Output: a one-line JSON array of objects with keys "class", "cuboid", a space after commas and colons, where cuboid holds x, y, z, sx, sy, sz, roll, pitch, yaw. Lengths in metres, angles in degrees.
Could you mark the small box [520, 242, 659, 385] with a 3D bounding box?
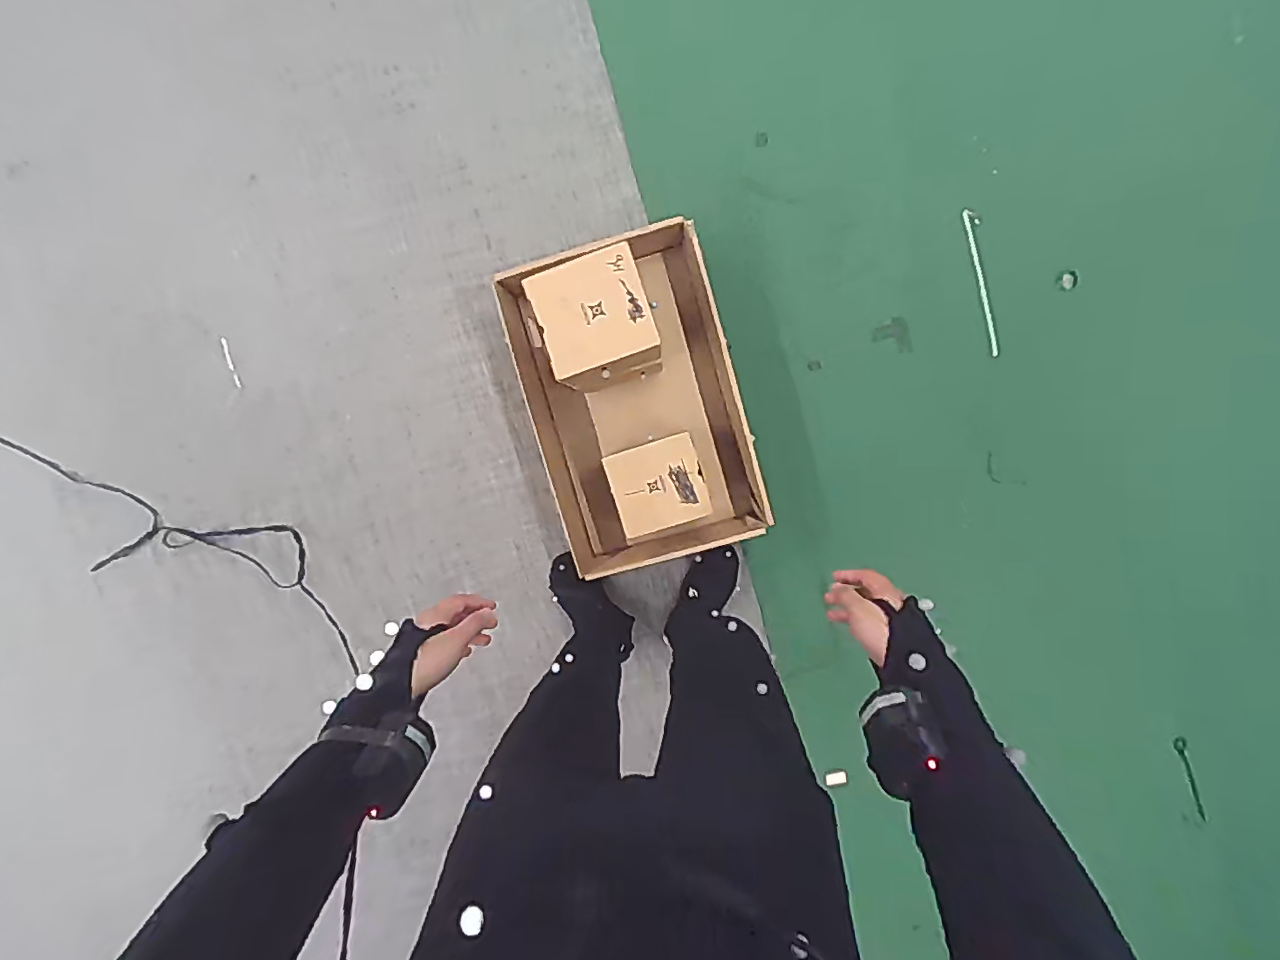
[{"class": "small box", "cuboid": [-0.074, -0.264, 0.904, 0.179, 0.176, 0.168, -18, 95, 5]}]
